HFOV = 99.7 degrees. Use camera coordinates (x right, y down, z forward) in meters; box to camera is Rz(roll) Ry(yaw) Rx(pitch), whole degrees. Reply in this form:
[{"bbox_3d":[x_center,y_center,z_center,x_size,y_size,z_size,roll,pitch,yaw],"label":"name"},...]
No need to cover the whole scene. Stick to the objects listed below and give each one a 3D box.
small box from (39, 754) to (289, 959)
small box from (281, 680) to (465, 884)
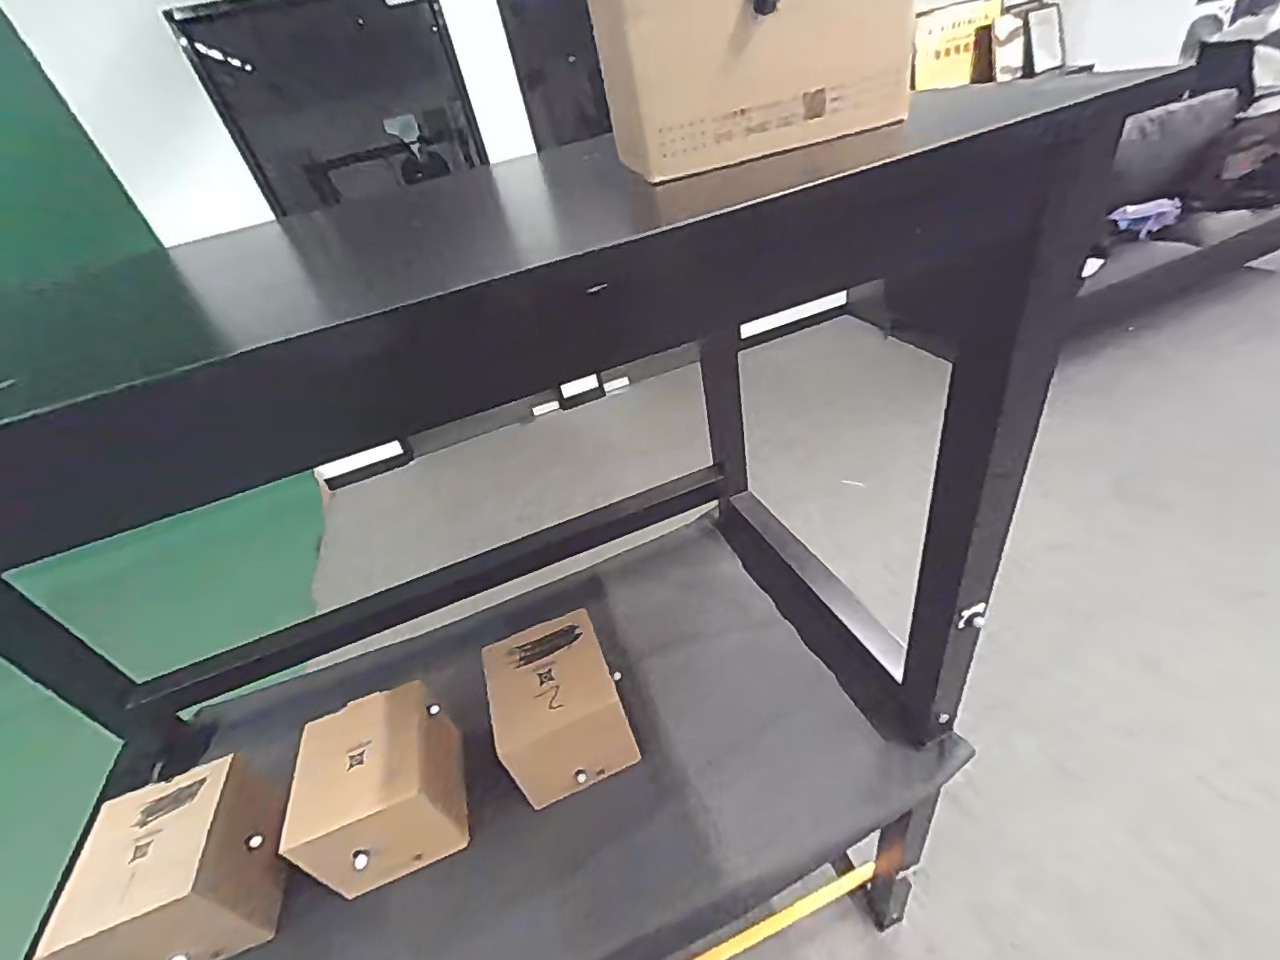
[{"bbox_3d":[-0.590,0.509,0.711,0.168,0.176,0.179,-20,37,-9],"label":"small box"},{"bbox_3d":[-0.355,0.424,0.755,0.168,0.176,0.179,-20,36,-9],"label":"small box"}]
